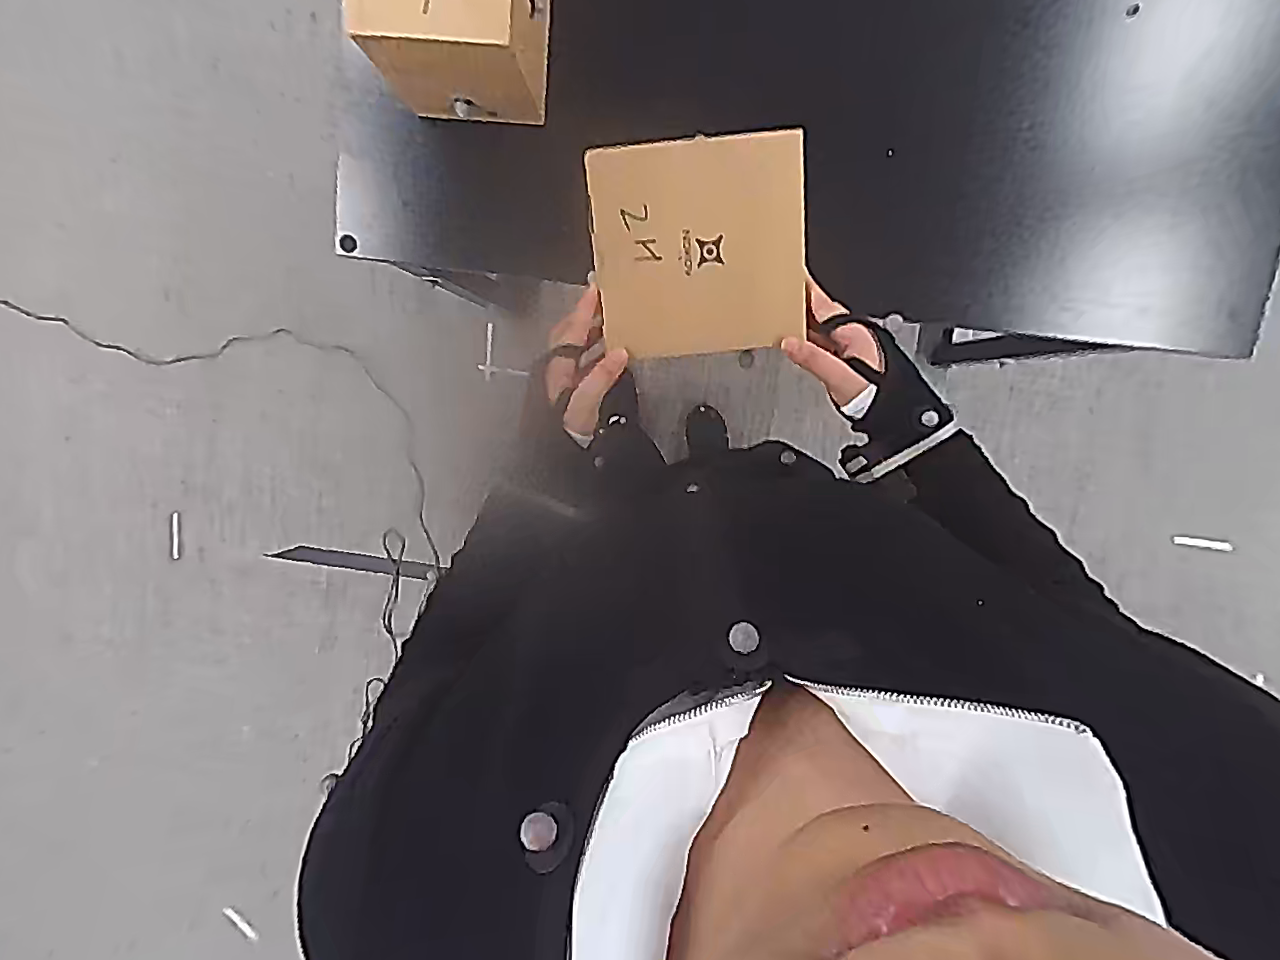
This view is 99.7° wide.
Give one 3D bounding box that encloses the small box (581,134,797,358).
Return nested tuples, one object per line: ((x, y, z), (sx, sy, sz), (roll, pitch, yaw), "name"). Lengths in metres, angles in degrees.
((0.043, -0.212, 0.529), (0.179, 0.176, 0.168), (-5, 104, 1), "small box")

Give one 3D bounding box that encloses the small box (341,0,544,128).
((-0.205, -0.530, 0.599), (0.168, 0.176, 0.179), (5, 101, 1), "small box")
